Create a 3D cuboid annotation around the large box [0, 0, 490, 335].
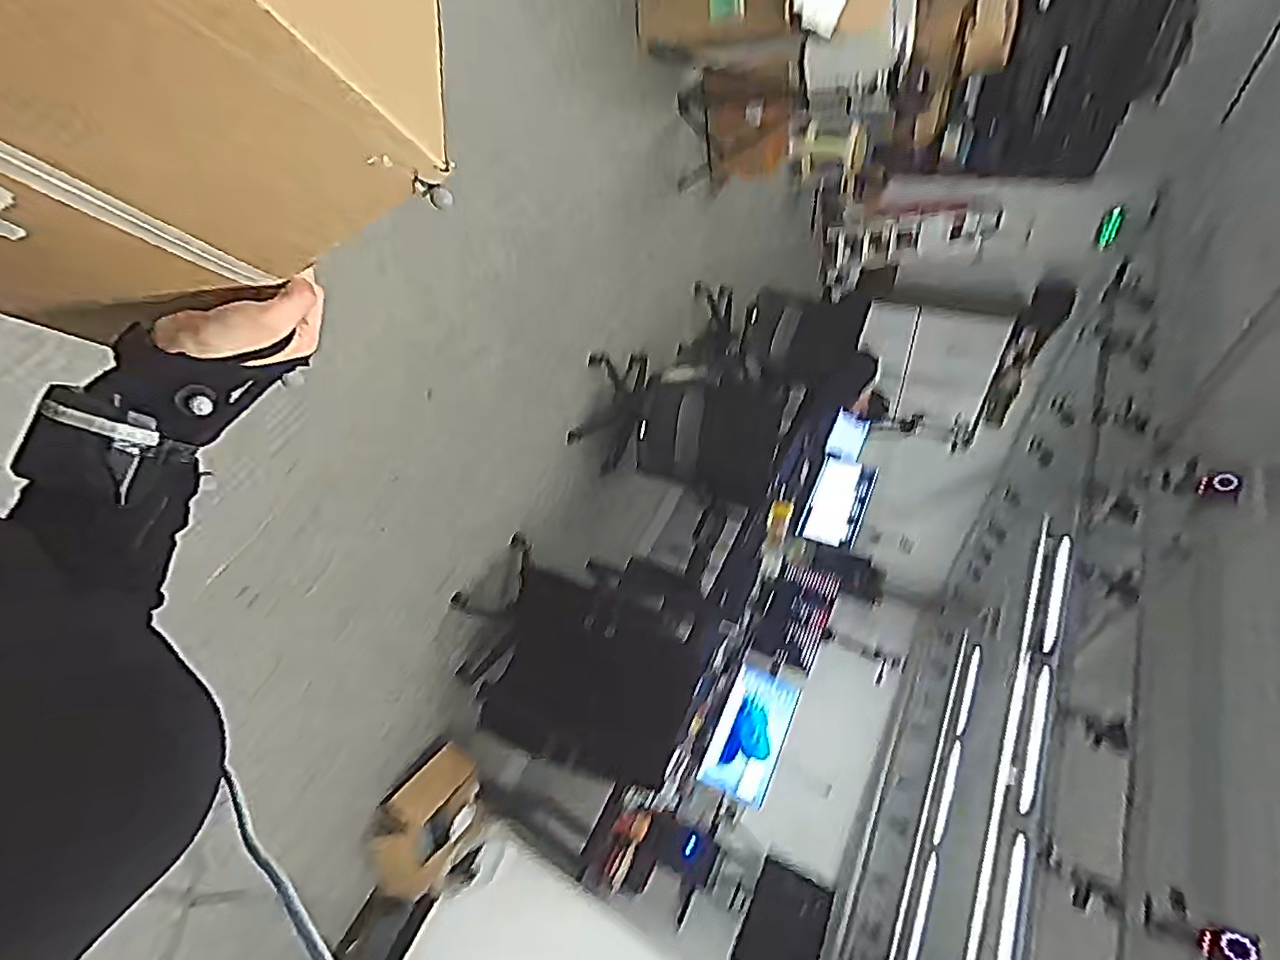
[{"bbox_3d":[-0.329,-0.325,0.226,0.408,0.320,0.320,19,60,-60],"label":"large box"}]
